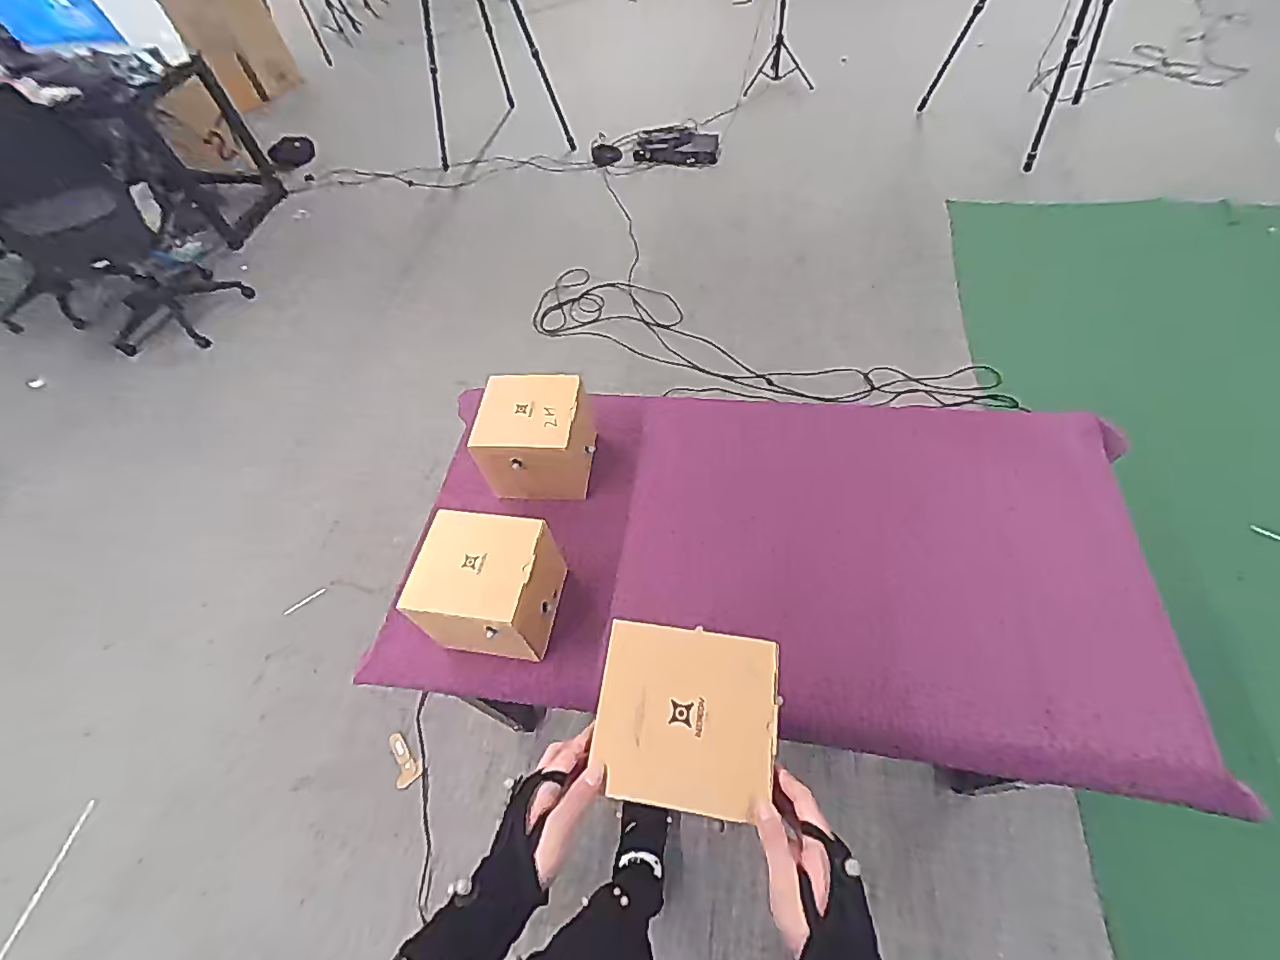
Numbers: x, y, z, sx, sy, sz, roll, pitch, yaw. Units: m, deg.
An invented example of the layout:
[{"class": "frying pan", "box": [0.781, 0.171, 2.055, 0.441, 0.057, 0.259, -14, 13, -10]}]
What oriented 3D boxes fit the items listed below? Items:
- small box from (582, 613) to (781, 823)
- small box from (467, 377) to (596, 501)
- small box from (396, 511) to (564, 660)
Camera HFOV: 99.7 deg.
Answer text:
[{"class": "small box", "box": [0.052, 0.261, 0.597, 0.179, 0.176, 0.168, 6, 62, 10]}, {"class": "small box", "box": [-0.189, -0.073, 1.000, 0.179, 0.176, 0.168, 2, 57, 7]}, {"class": "small box", "box": [-0.234, 0.167, 0.842, 0.179, 0.176, 0.168, 6, 55, 9]}]
